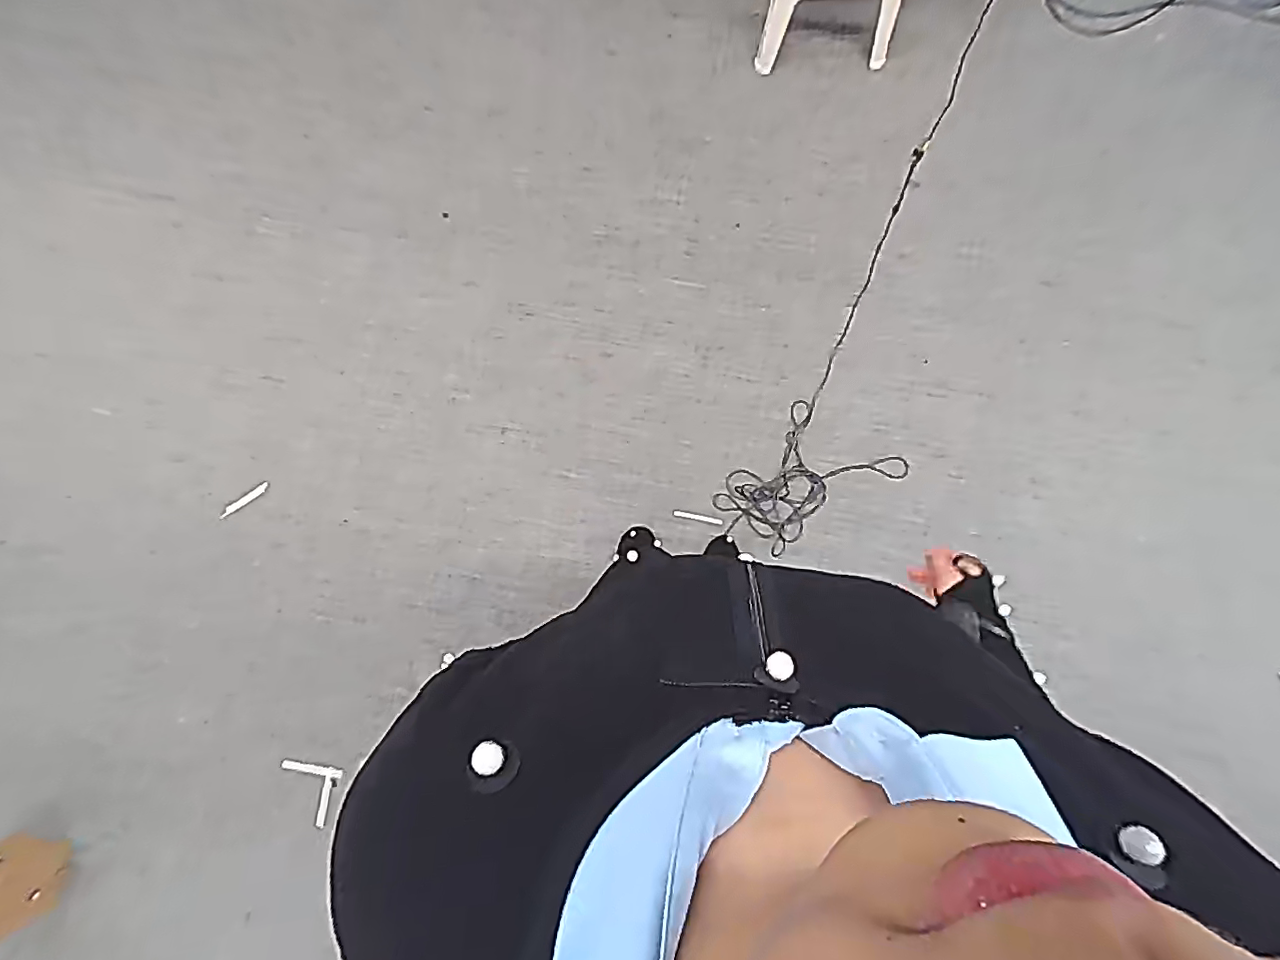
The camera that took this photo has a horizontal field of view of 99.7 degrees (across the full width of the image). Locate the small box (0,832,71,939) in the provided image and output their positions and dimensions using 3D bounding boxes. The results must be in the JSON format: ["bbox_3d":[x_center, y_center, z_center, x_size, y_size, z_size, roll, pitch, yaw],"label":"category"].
[{"bbox_3d":[-1.671,1.061,1.419,0.179,0.176,0.168,9,84,4],"label":"small box"}]
